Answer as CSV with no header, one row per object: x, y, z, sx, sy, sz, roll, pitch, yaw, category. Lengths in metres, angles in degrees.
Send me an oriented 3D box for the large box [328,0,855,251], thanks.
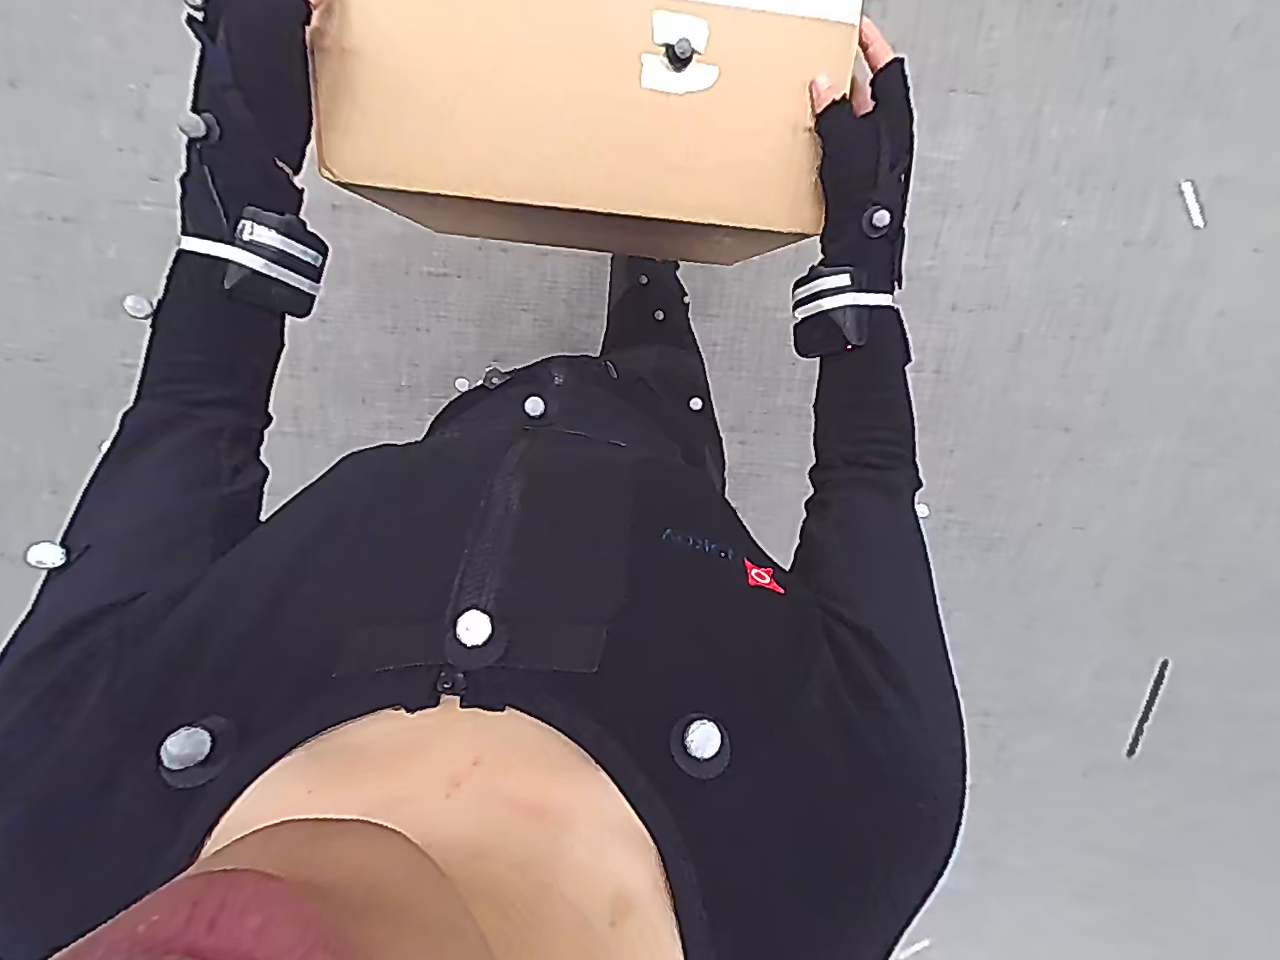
-0.043,-0.424,0.544,0.408,0.320,0.320,3,108,-7,large box
